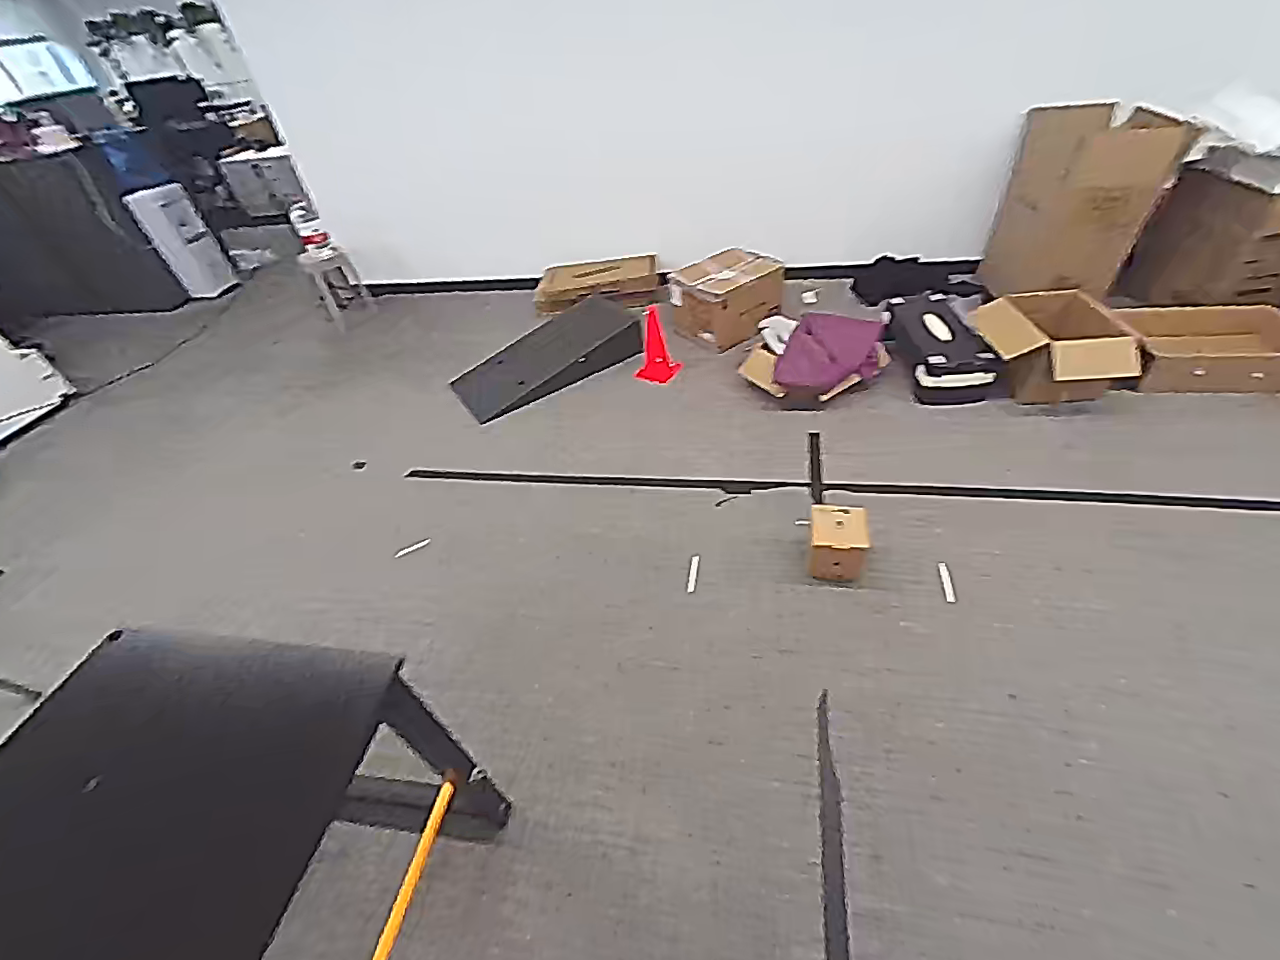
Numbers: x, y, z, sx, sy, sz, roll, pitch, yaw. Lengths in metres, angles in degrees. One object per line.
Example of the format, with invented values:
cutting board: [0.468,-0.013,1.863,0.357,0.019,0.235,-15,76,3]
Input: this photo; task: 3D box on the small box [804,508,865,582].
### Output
small box: [0.633,0.214,1.771,0.168,0.176,0.179,3,45,13]
